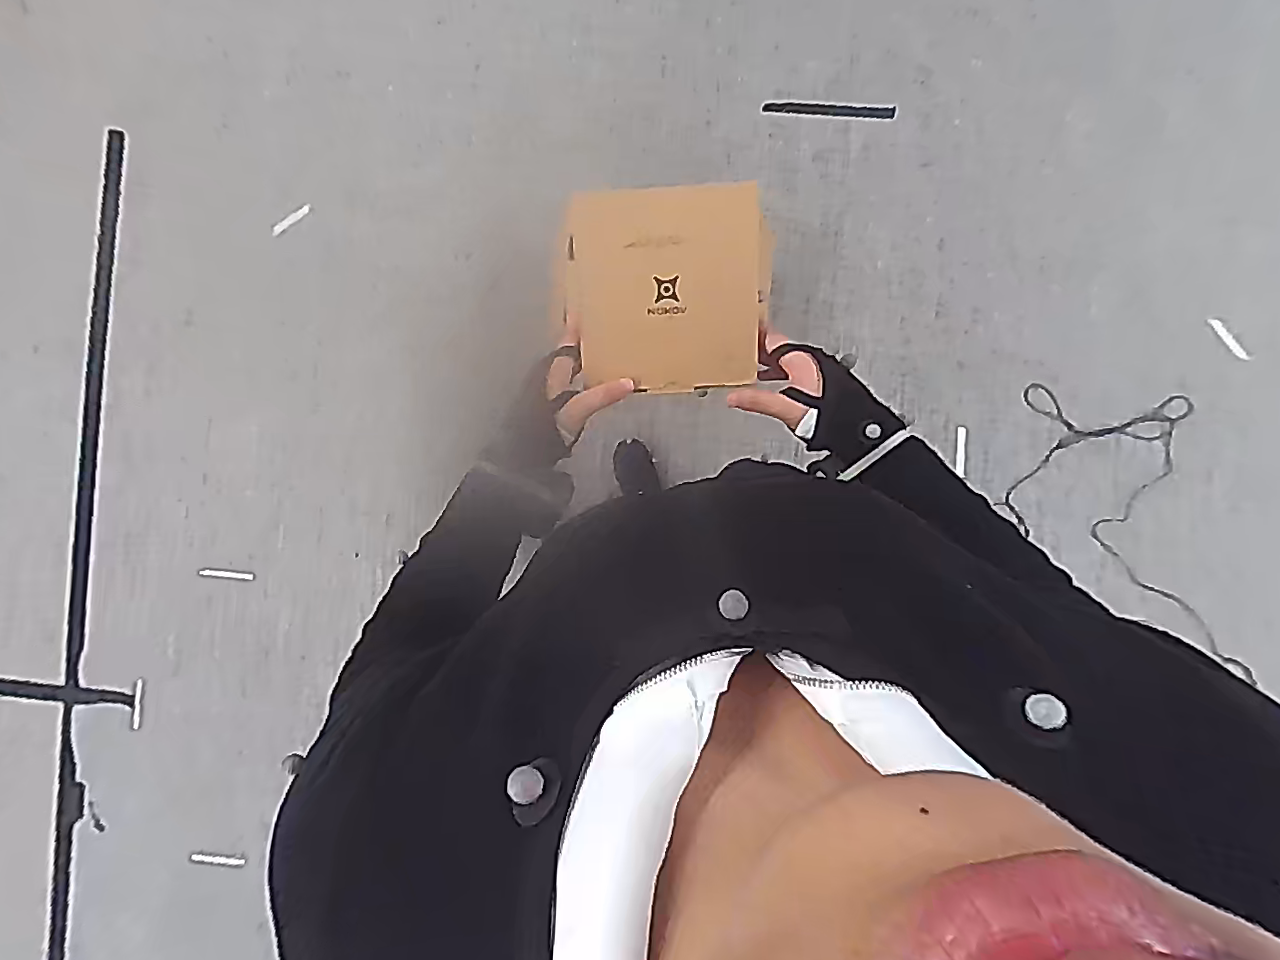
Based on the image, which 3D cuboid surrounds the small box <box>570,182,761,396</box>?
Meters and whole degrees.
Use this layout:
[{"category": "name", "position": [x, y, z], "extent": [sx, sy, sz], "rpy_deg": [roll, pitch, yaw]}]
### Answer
[{"category": "small box", "position": [0.026, -0.187, 0.558], "extent": [0.168, 0.176, 0.179], "rpy_deg": [-3, 104, 1]}]
